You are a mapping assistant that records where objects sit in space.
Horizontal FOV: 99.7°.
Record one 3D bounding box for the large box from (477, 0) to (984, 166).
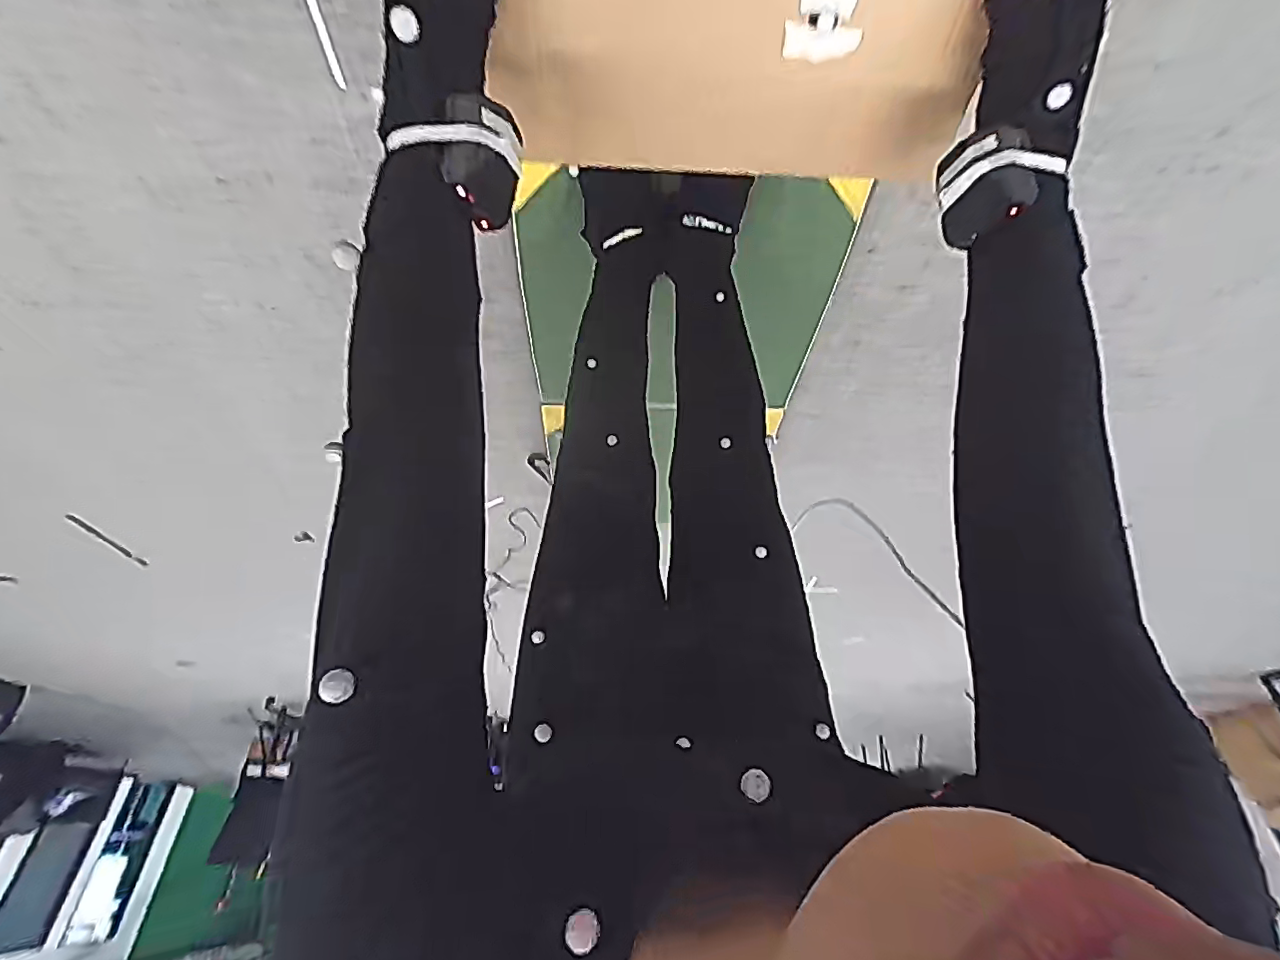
[{"bbox_3d":[0.069,-0.510,0.488,0.408,0.320,0.320,1,140,-1],"label":"large box"}]
